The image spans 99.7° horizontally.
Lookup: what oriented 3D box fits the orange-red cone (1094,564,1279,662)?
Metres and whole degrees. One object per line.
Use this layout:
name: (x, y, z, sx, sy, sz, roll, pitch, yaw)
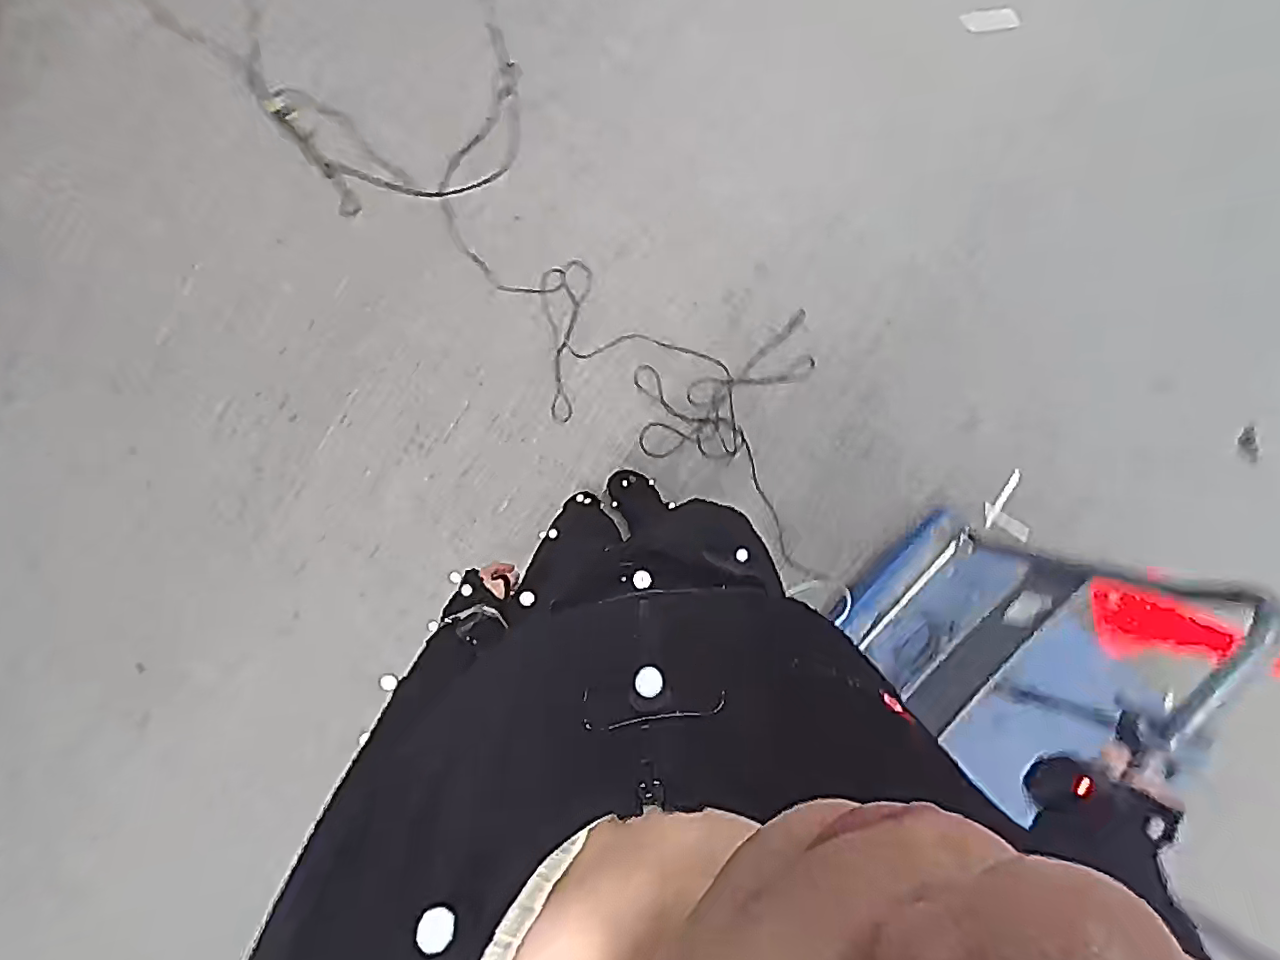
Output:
orange-red cone: (1.295, 0.339, 1.241, 0.198, 0.360, 0.199, -12, 95, 0)
